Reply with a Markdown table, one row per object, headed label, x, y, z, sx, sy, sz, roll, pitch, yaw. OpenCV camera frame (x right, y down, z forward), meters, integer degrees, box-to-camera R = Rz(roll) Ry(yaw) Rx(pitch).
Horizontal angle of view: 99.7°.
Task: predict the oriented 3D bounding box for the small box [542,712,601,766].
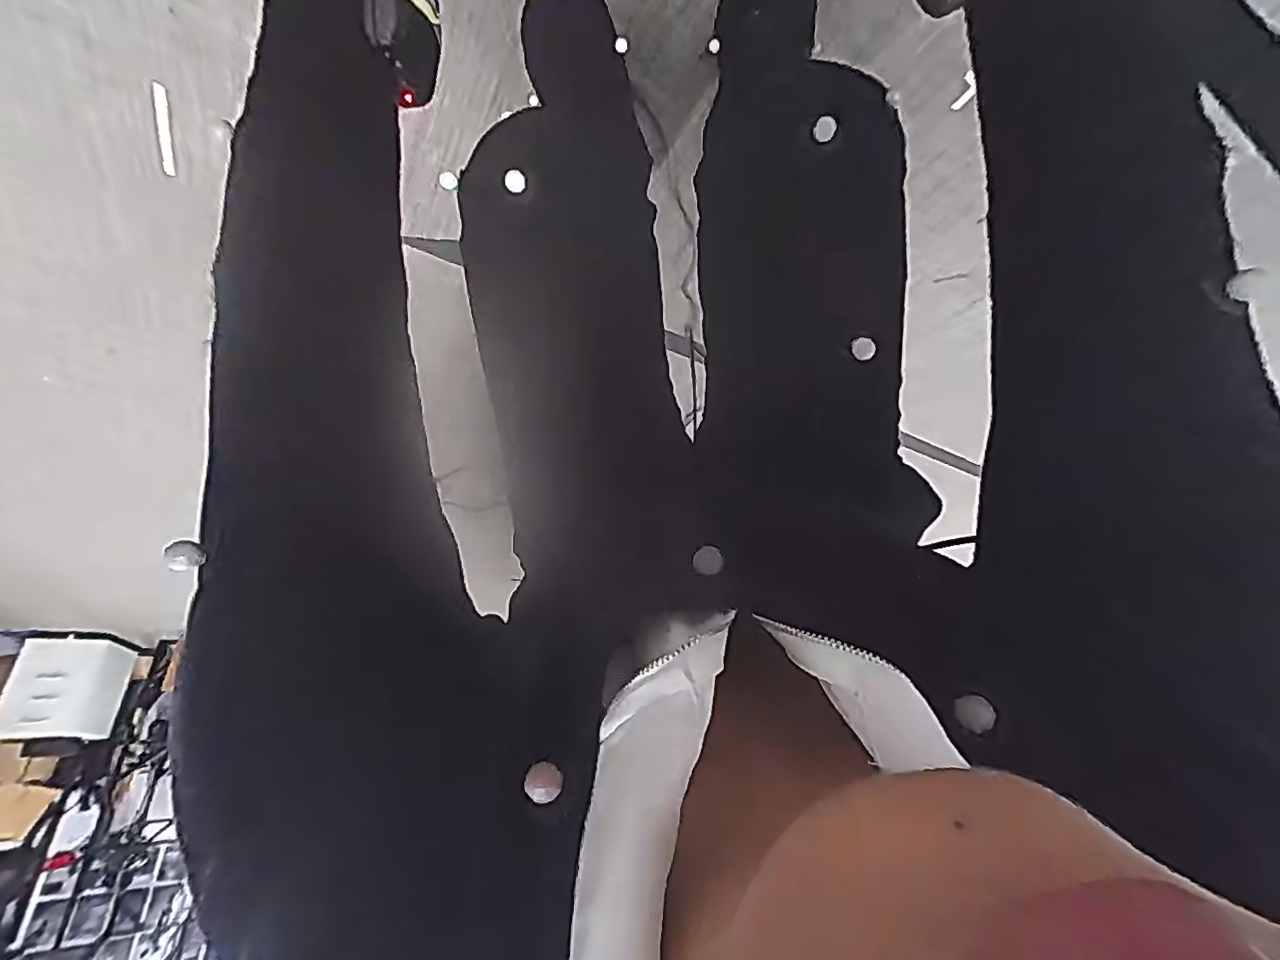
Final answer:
| label | x | y | z | sx | sy | sz | roll | pitch | yaw |
| --- | --- | --- | --- | --- | --- | --- | --- | --- | --- |
| small box | -0.256 | 0.959 | 2.002 | 0.179 | 0.176 | 0.168 | 10 | 148 | -22 |
